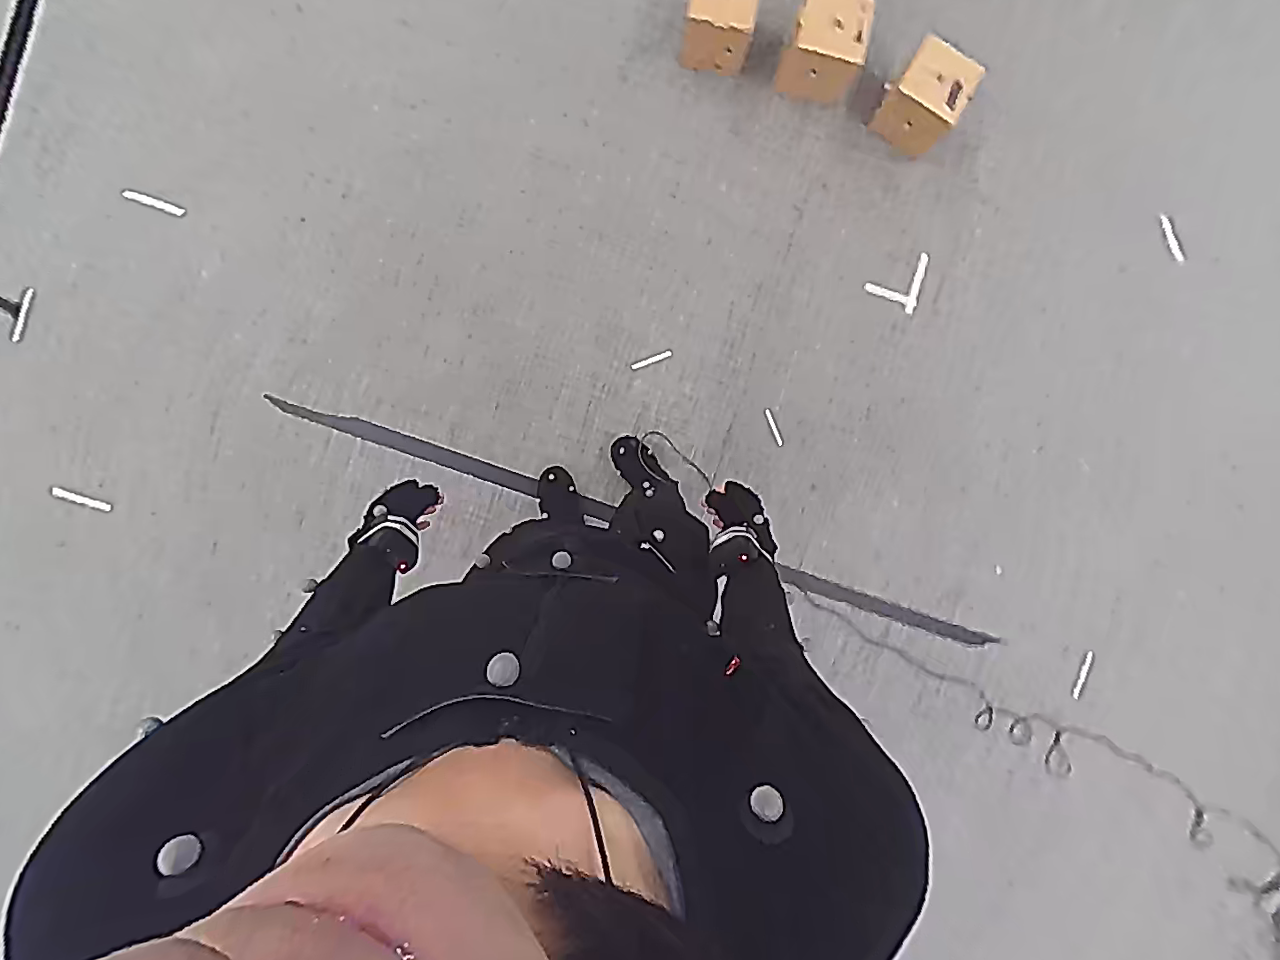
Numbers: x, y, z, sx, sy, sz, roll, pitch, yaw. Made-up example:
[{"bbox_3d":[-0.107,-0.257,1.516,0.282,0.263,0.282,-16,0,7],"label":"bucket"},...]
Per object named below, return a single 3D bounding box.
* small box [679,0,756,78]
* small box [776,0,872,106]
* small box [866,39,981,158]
[{"bbox_3d":[0.200,-1.199,1.406,0.168,0.176,0.179,9,91,-5],"label":"small box"},{"bbox_3d":[0.476,-1.132,1.427,0.179,0.176,0.168,11,92,-4],"label":"small box"},{"bbox_3d":[0.752,-1.009,1.453,0.179,0.176,0.168,29,90,-4],"label":"small box"}]
